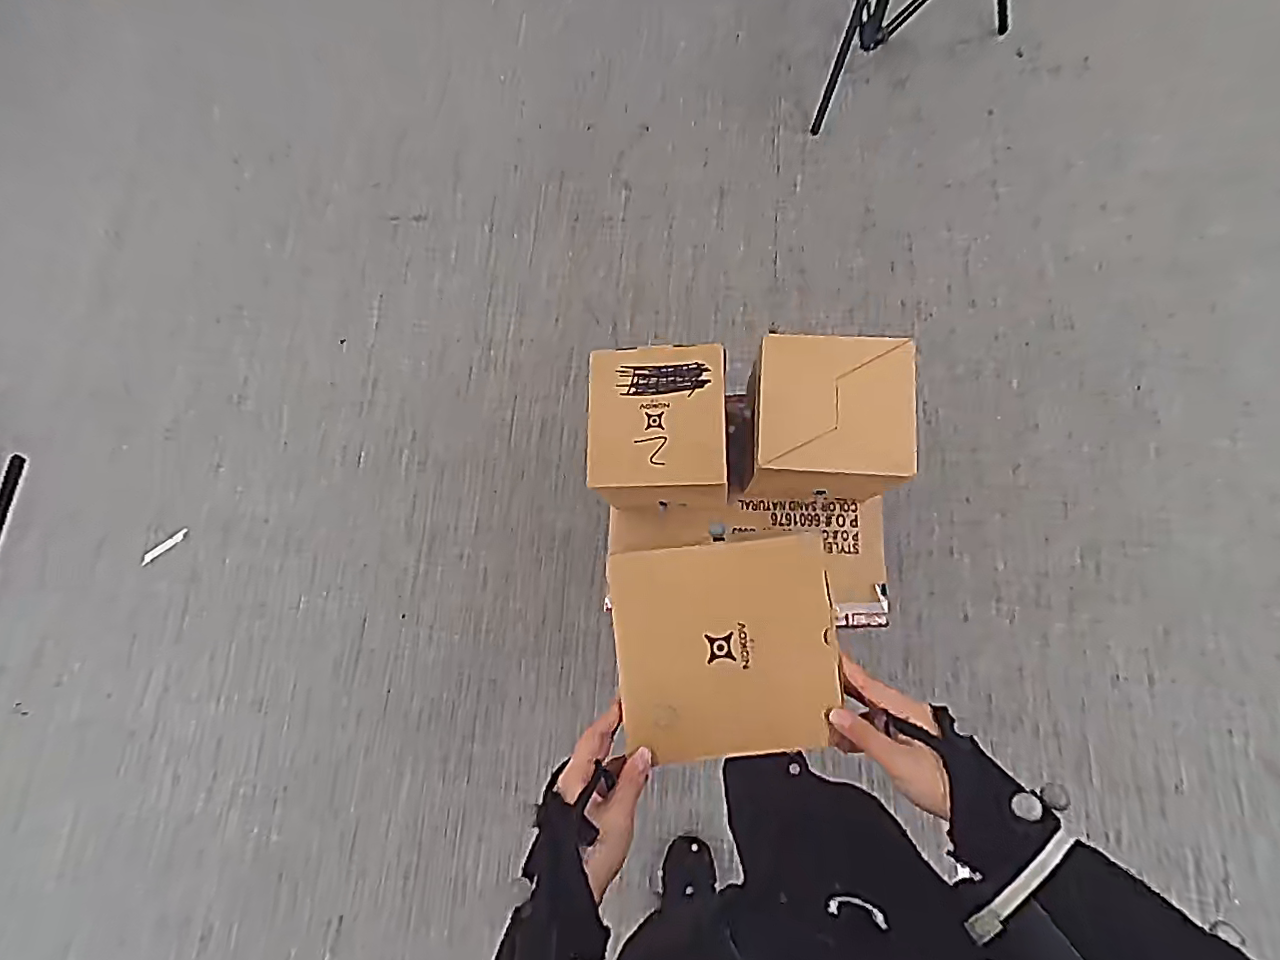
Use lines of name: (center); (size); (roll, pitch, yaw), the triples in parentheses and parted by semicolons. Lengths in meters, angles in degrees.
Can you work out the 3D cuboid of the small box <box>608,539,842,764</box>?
small box: (0.069, 0.147, 0.517); (0.179, 0.176, 0.168); (-6, 84, 0)
